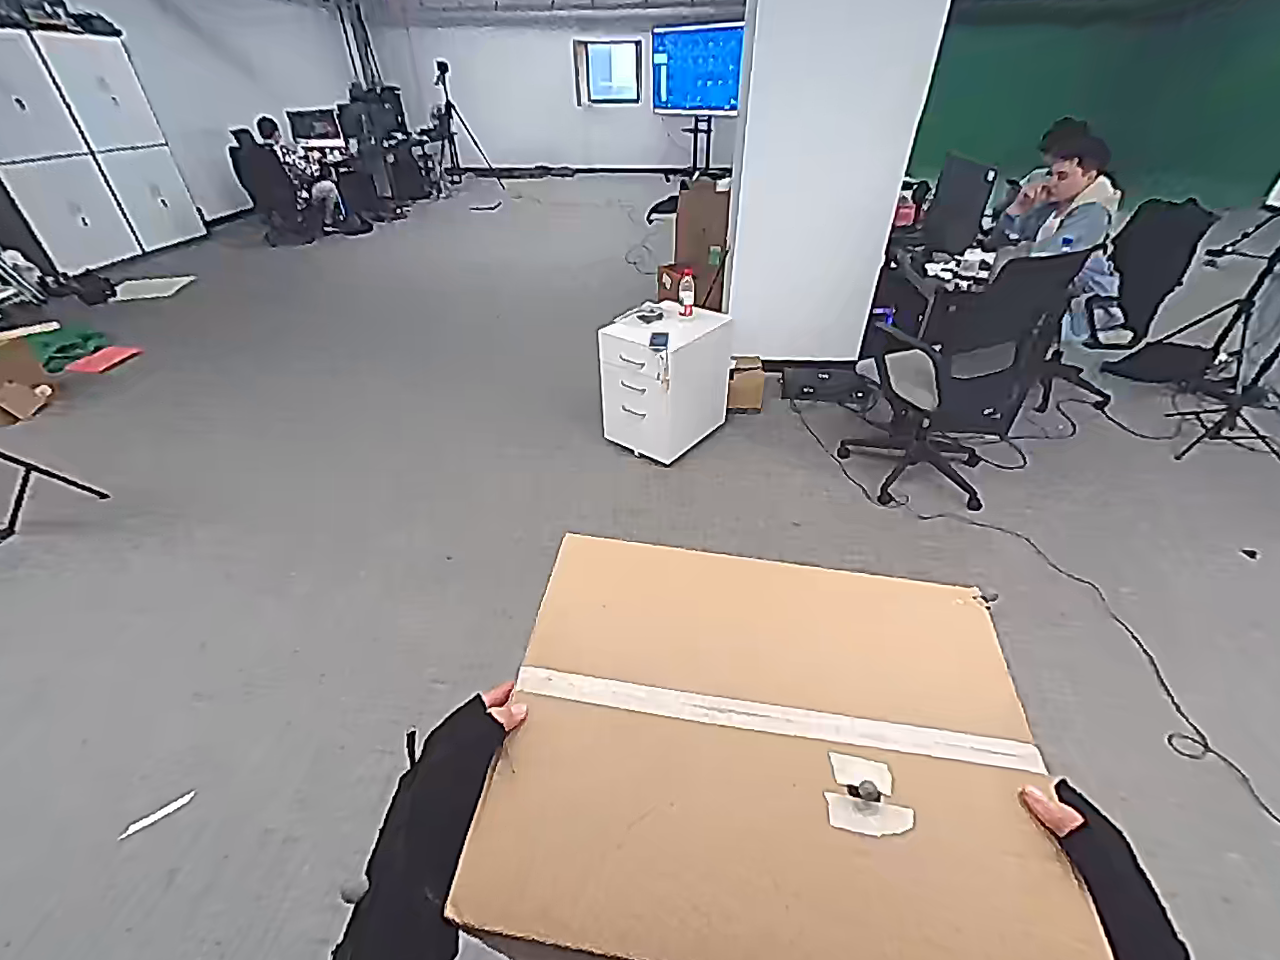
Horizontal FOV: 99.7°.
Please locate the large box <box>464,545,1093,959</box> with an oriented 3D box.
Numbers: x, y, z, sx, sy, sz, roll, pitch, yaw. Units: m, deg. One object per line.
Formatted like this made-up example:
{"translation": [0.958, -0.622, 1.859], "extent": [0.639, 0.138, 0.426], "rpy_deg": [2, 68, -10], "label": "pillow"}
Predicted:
{"translation": [0.095, 0.299, 0.538], "extent": [0.408, 0.320, 0.320], "rpy_deg": [7, 46, 5], "label": "large box"}
